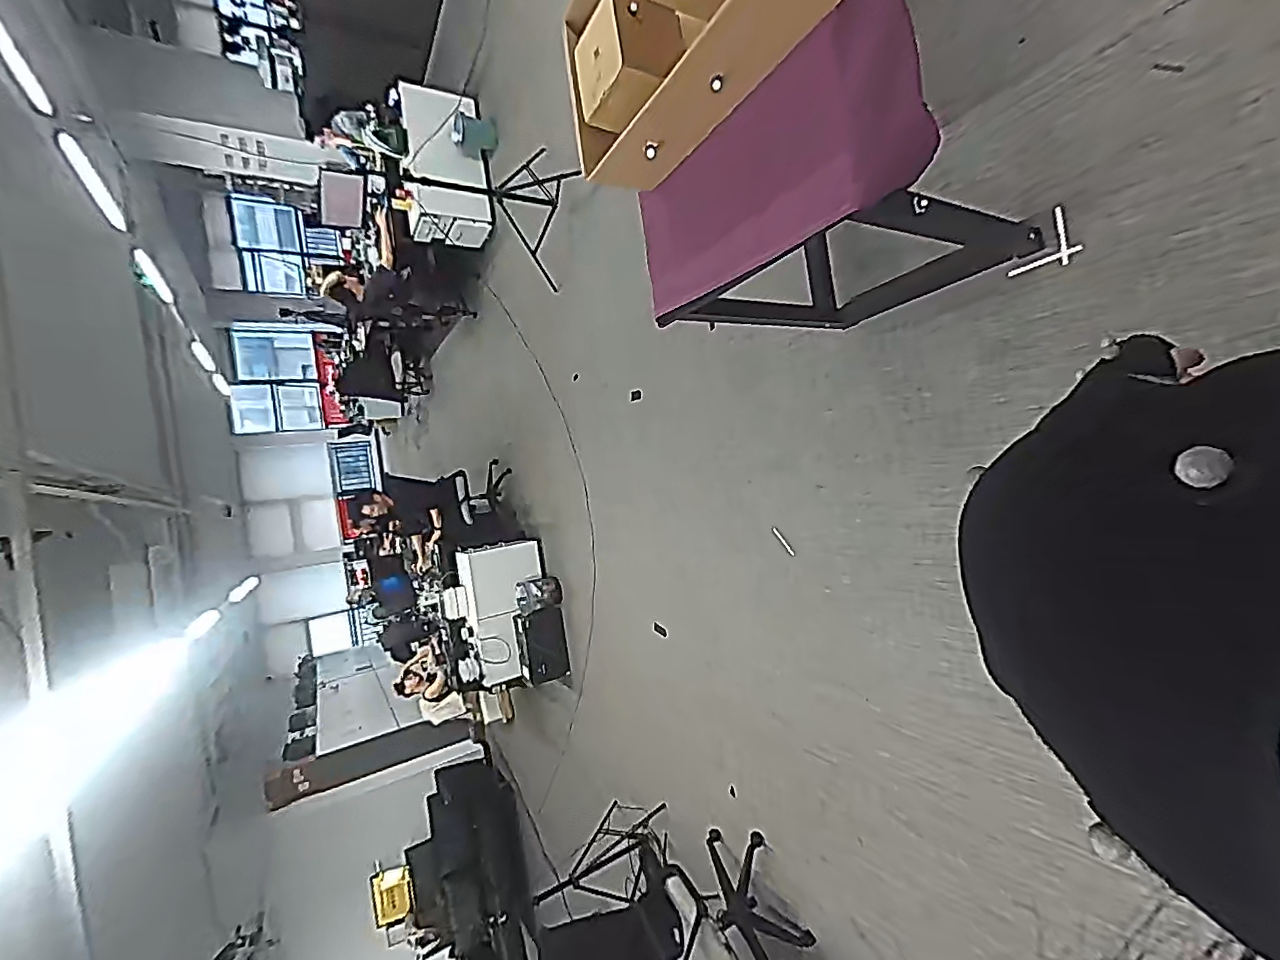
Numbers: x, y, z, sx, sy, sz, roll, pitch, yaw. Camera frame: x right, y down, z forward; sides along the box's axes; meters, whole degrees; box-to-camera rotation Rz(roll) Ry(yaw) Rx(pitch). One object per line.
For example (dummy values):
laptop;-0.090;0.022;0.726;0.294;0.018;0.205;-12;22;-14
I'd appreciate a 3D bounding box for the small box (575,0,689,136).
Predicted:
small box;-0.018;-0.873;1.141;0.168;0.176;0.179;-15;84;58
